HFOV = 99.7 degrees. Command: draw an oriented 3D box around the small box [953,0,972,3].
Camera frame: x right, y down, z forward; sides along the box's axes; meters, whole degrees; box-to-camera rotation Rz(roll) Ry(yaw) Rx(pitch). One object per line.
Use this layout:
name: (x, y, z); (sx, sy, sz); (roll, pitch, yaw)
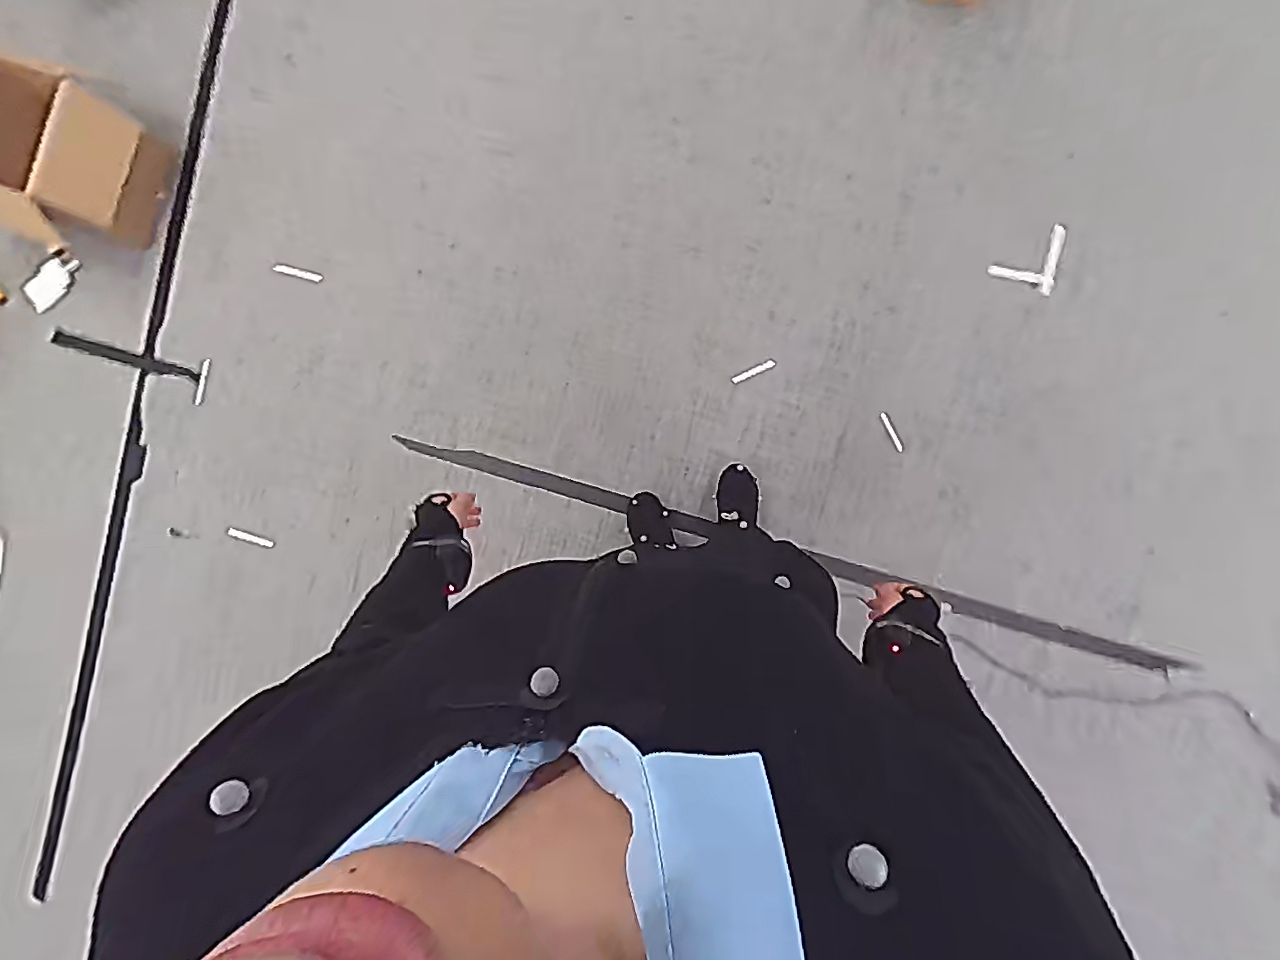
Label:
small box: (0.780, -1.311, 1.305); (0.168, 0.176, 0.179); (11, 92, 5)
